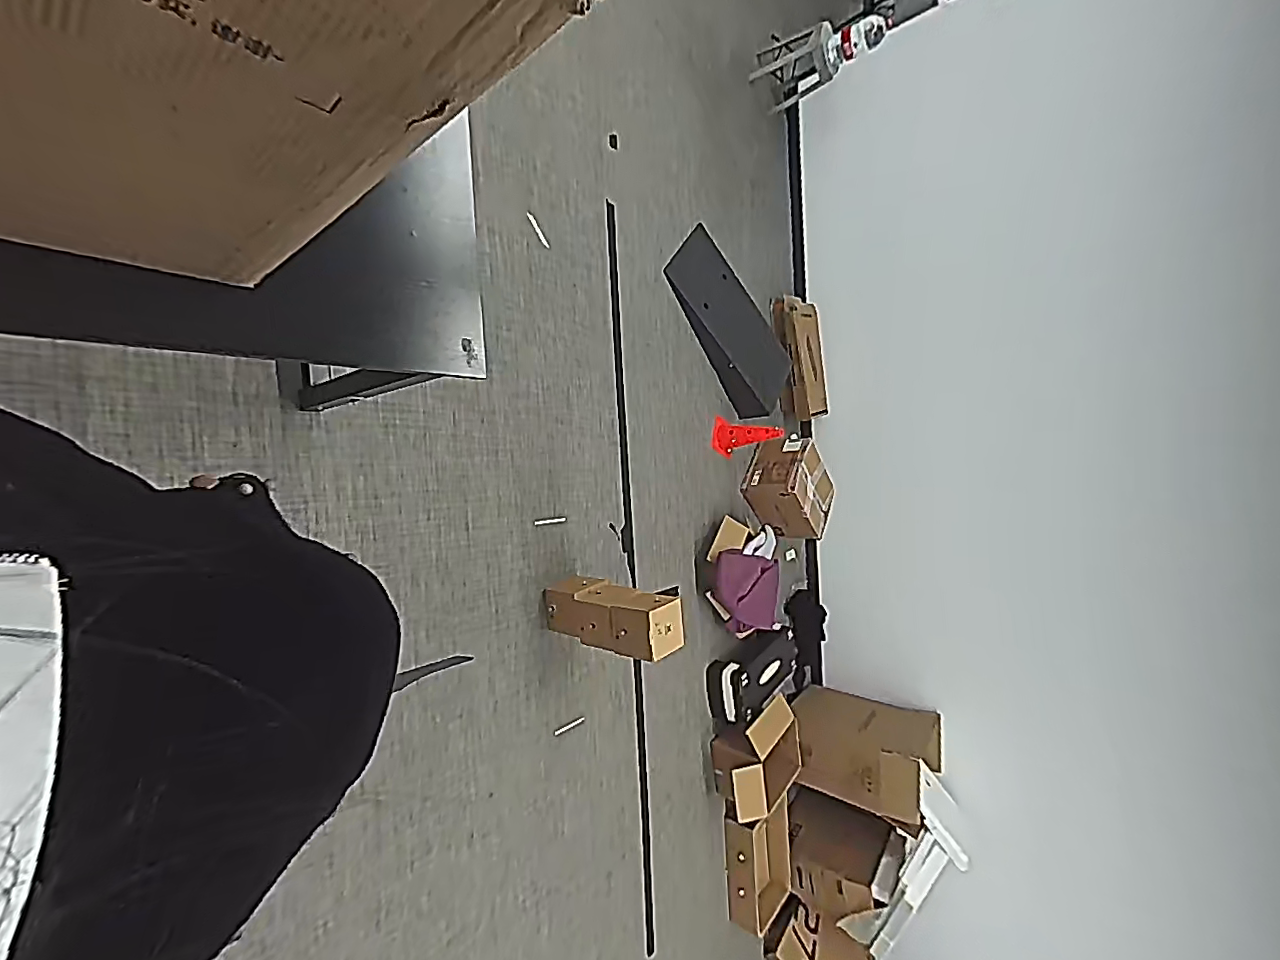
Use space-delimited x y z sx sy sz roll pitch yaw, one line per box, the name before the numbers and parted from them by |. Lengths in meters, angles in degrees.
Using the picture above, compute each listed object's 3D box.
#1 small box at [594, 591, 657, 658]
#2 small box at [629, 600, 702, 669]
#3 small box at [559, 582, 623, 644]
small box | -0.047 0.499 1.893 0.179 0.176 0.168 -16 101 -50
small box | 0.084 0.504 1.792 0.179 0.176 0.168 -9 95 -51
small box | -0.175 0.483 1.996 0.179 0.176 0.168 -15 100 -49
